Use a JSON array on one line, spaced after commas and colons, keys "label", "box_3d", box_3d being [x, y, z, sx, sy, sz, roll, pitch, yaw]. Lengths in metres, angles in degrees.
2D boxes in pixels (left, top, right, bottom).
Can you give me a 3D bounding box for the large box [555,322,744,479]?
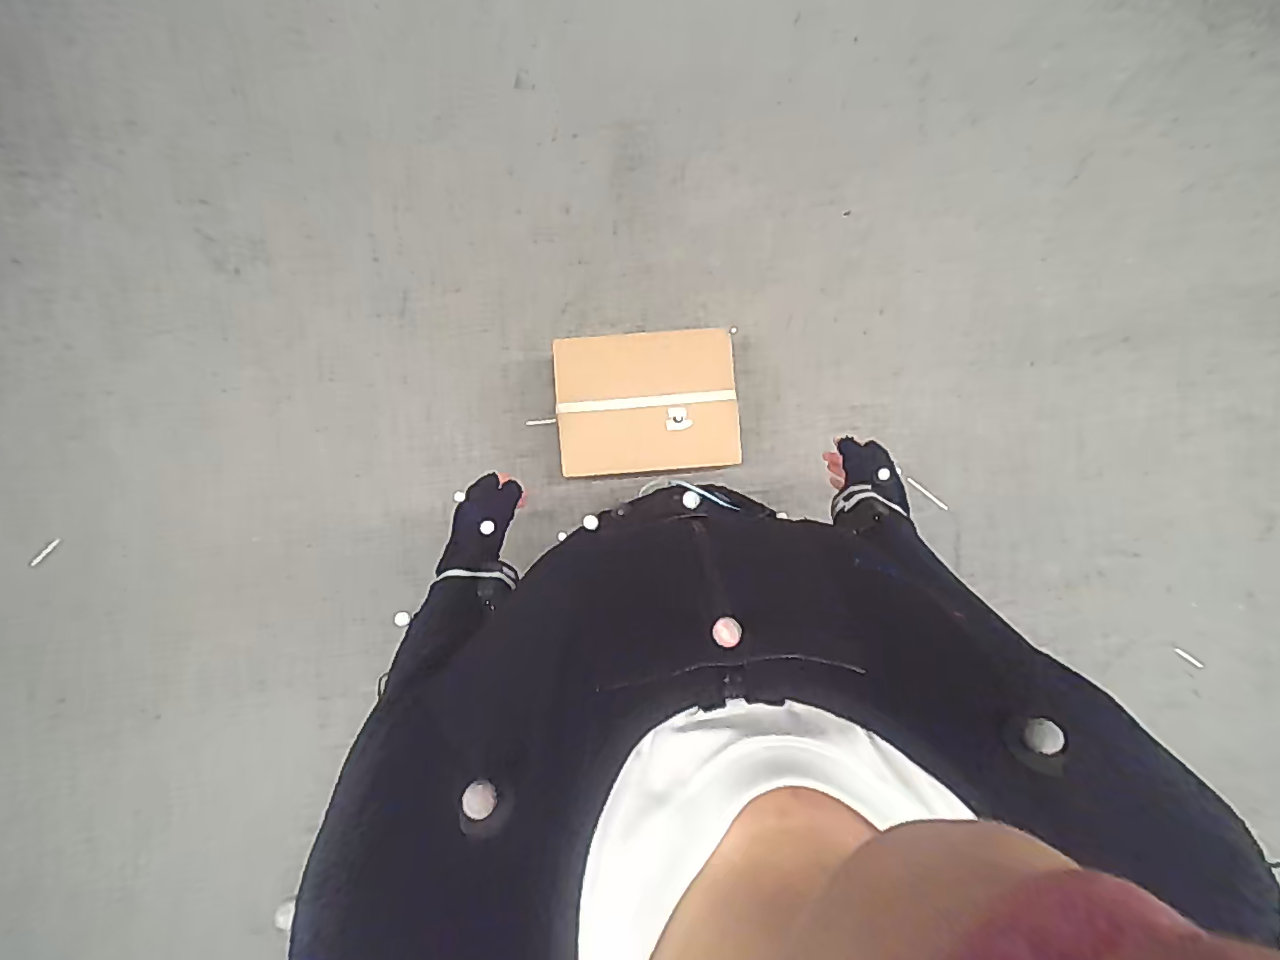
[{"label": "large box", "box_3d": [0.016, -0.179, 1.353, 0.408, 0.320, 0.320, -5, 89, -2]}]
